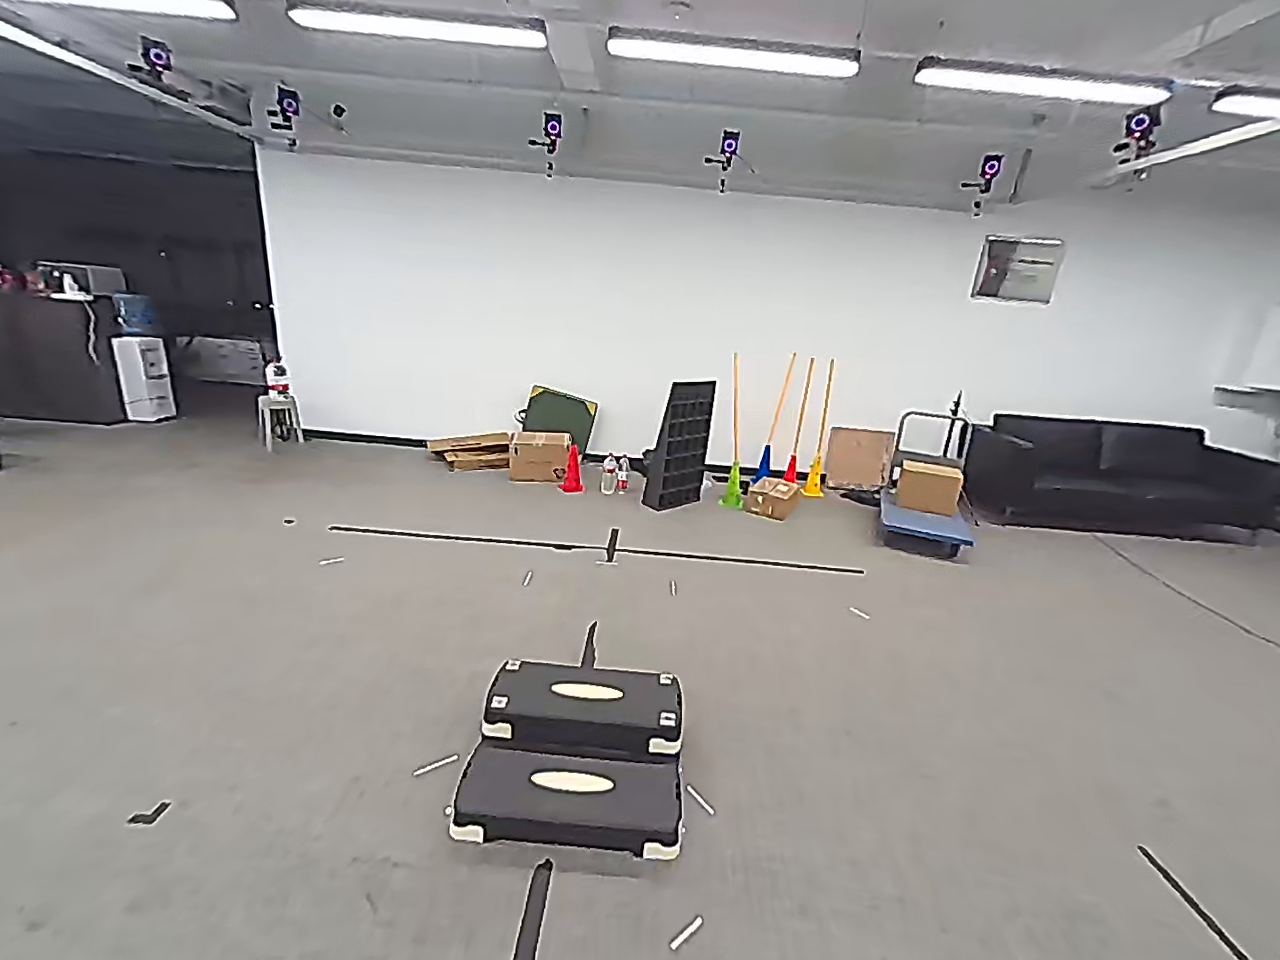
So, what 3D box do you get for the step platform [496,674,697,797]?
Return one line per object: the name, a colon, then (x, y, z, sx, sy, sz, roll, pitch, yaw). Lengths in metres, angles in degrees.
step platform: (-0.144, 0.876, 1.888, 0.684, 0.204, 0.286, 7, 17, 5)
